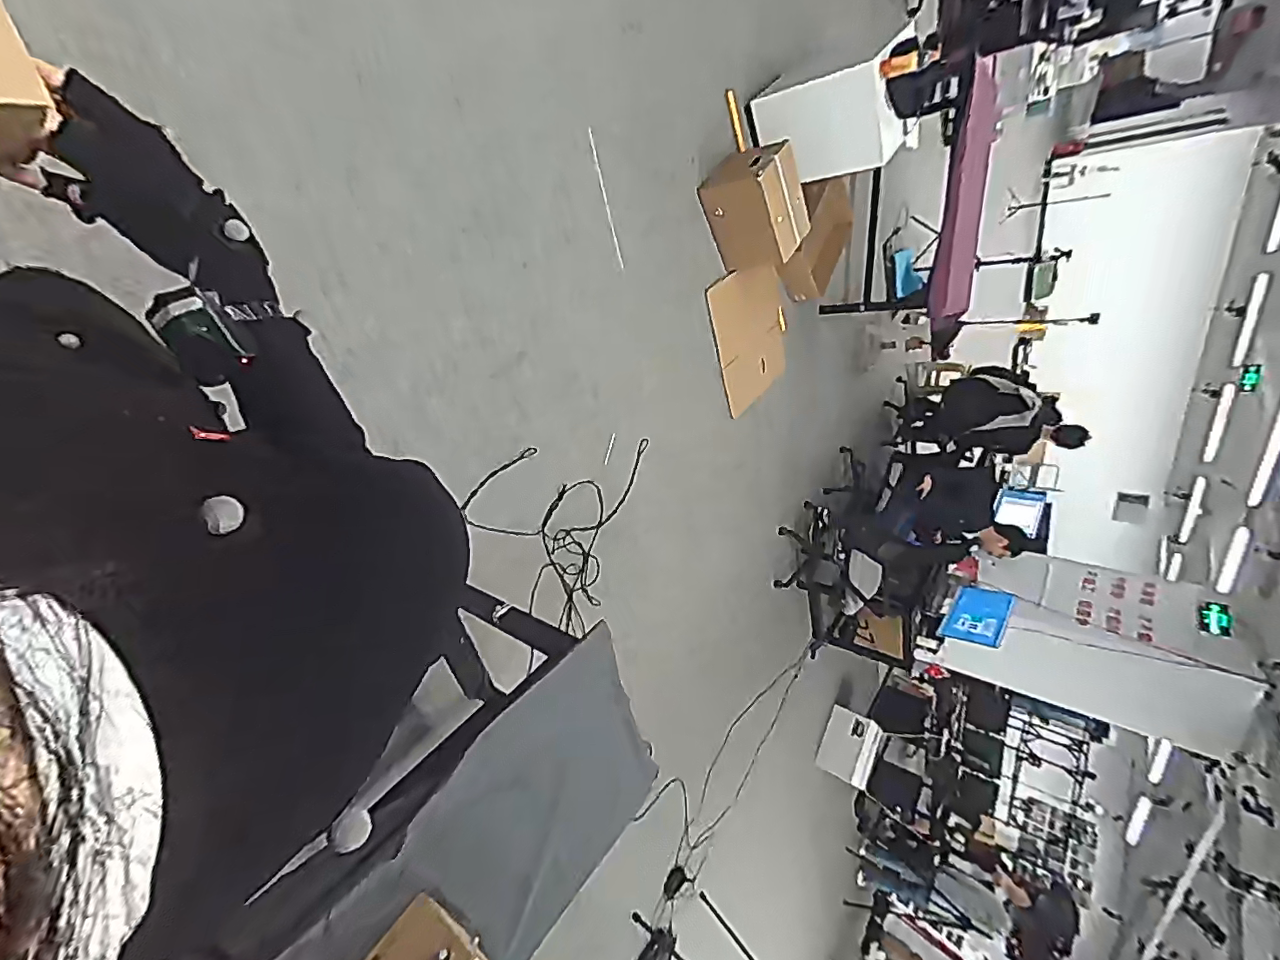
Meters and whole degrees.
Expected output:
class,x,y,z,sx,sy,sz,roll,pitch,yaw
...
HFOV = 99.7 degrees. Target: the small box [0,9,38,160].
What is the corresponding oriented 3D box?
class,x,y,z,sx,sy,sz,roll,pitch,yaw
small box,-0.457,-0.263,0.263,0.179,0.176,0.168,-31,123,-42
